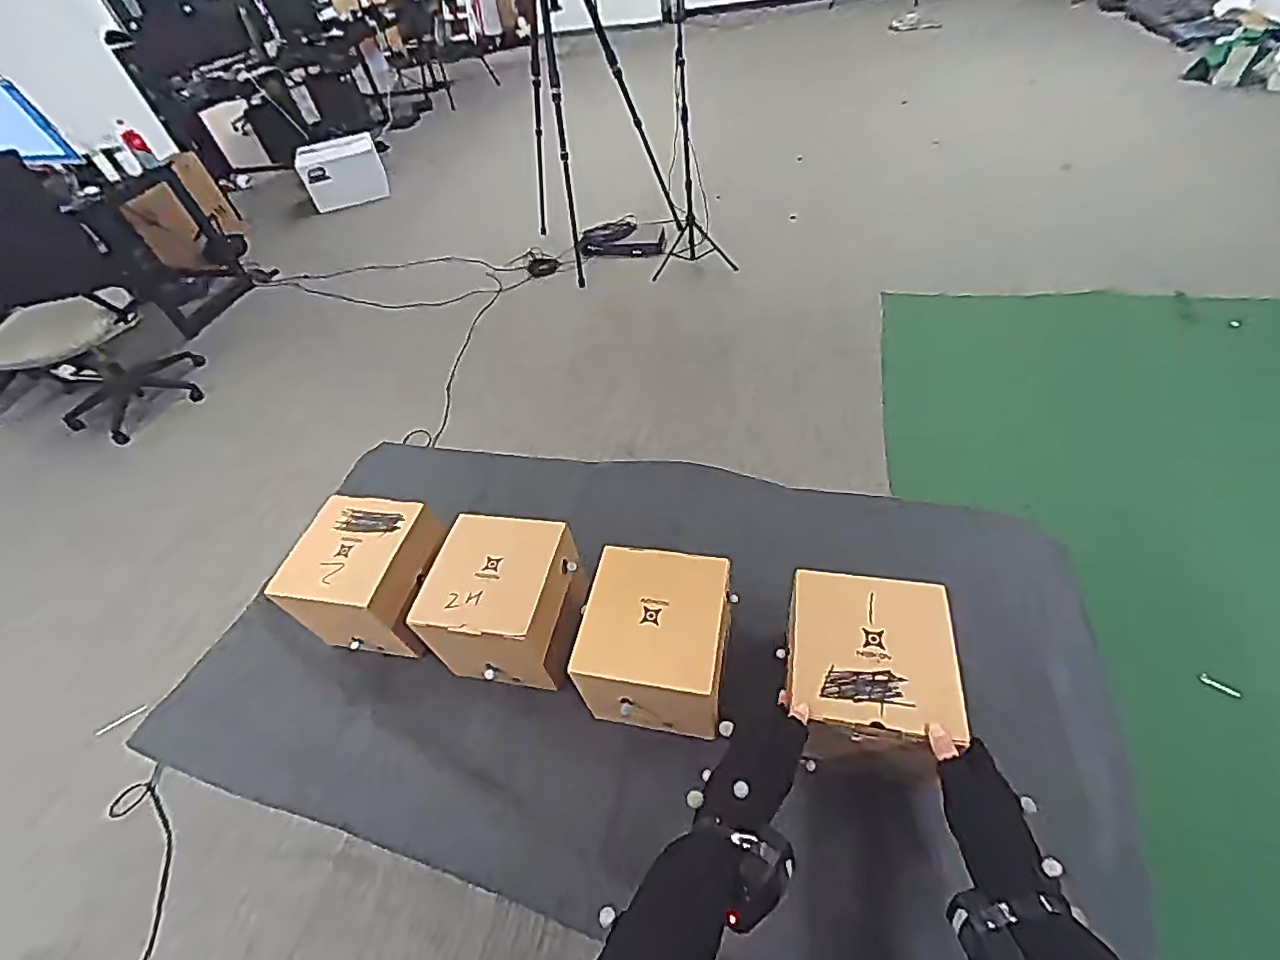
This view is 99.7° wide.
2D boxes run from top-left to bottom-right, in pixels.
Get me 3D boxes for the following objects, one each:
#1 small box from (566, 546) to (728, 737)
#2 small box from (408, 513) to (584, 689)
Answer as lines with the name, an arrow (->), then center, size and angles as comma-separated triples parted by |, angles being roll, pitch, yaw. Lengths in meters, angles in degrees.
small box -> 0.023, 0.211, 0.702 | 0.168, 0.176, 0.179 | 5, 49, 14
small box -> -0.187, 0.171, 0.770 | 0.168, 0.176, 0.179 | 4, 50, 13
